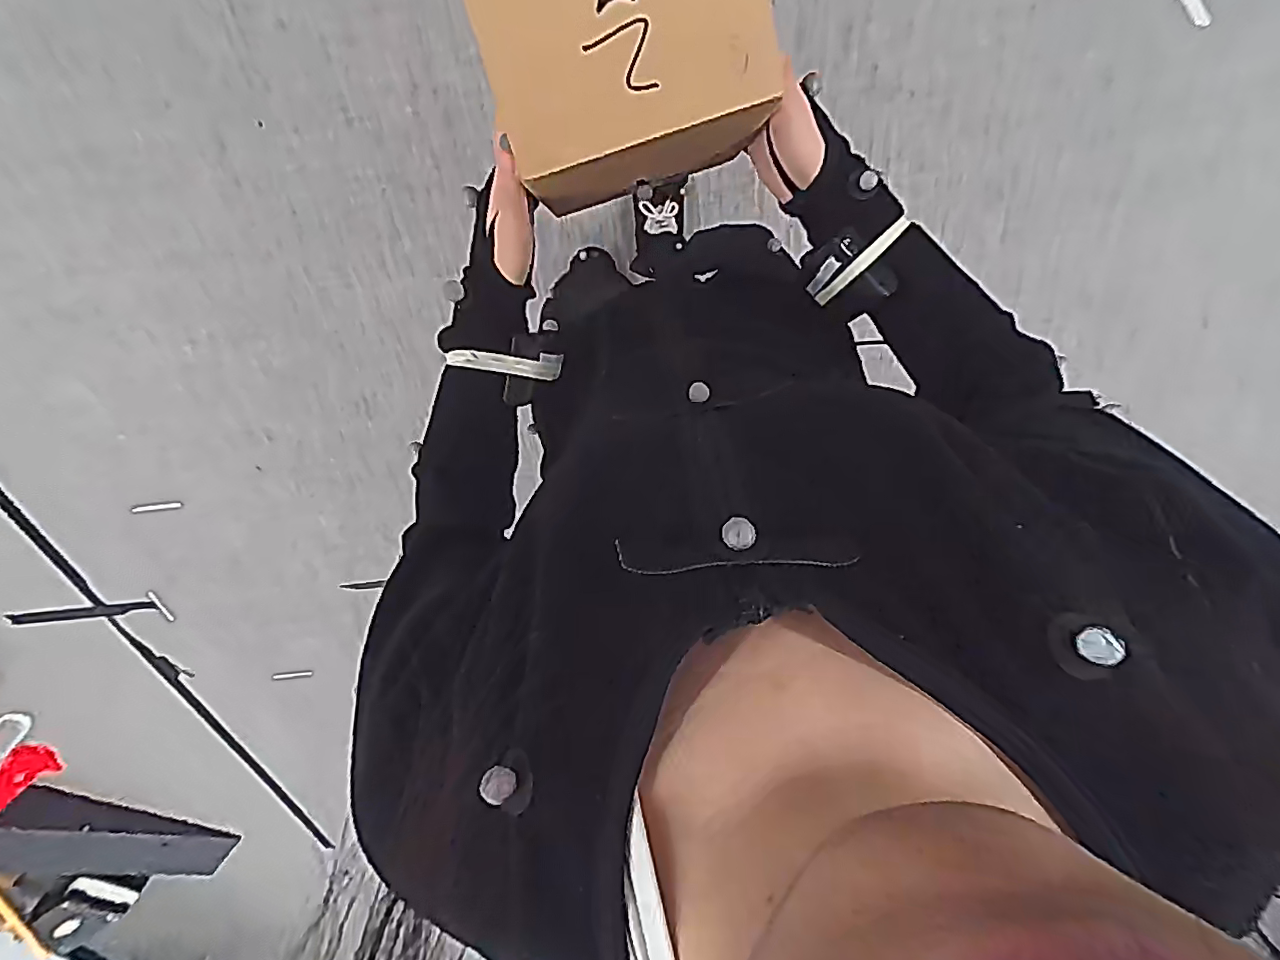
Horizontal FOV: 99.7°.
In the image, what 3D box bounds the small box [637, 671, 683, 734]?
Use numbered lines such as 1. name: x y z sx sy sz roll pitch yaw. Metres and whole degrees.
1. small box: 0.079 0.870 2.132 0.168 0.176 0.179 -5 124 1
